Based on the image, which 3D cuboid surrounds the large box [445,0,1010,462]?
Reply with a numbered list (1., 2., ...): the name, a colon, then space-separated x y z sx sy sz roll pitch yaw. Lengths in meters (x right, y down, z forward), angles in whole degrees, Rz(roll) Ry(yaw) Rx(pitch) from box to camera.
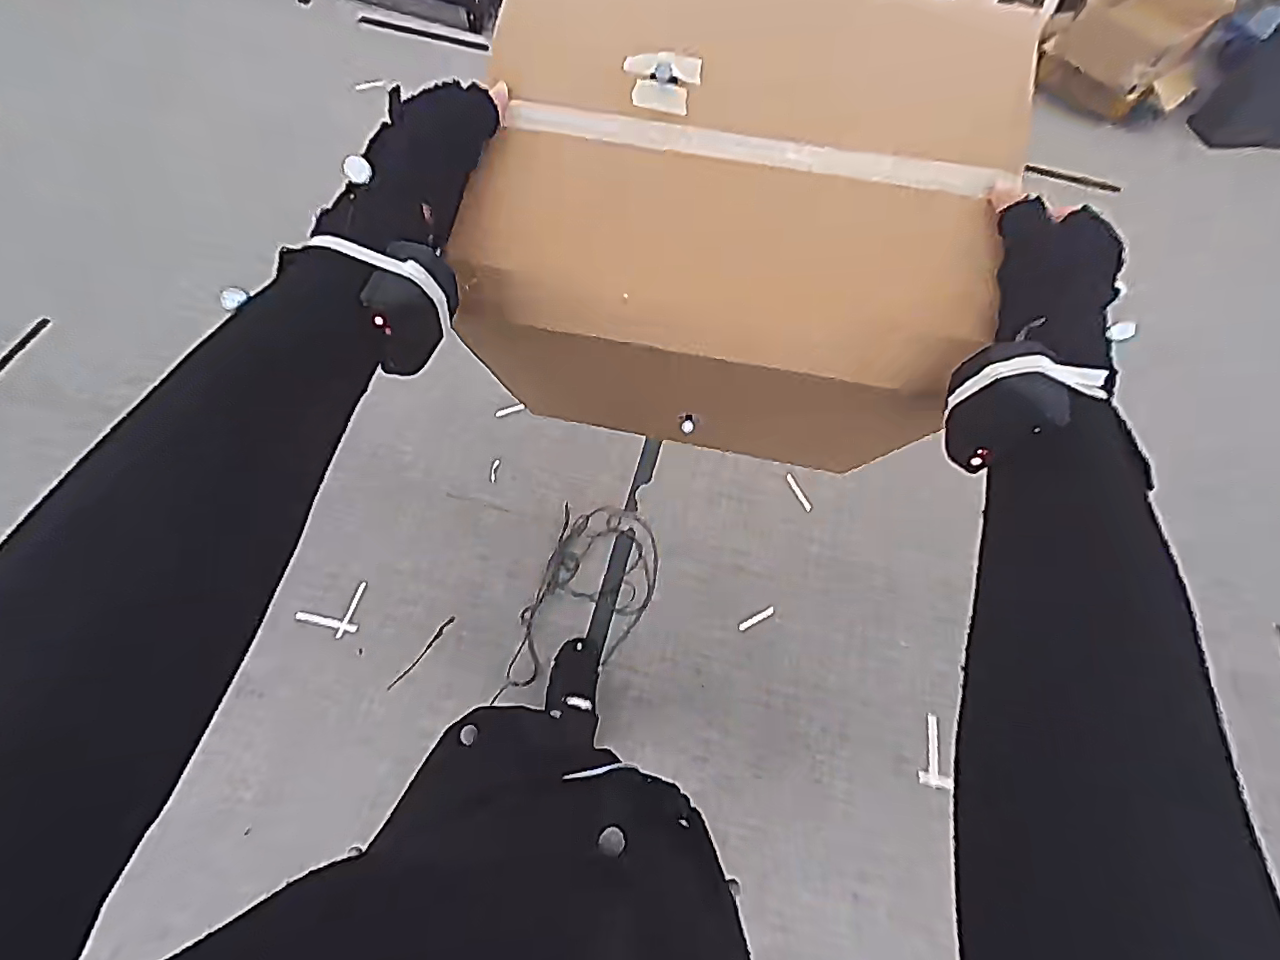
1. large box: 0.080 -0.220 0.568 0.408 0.320 0.320 11 82 5
